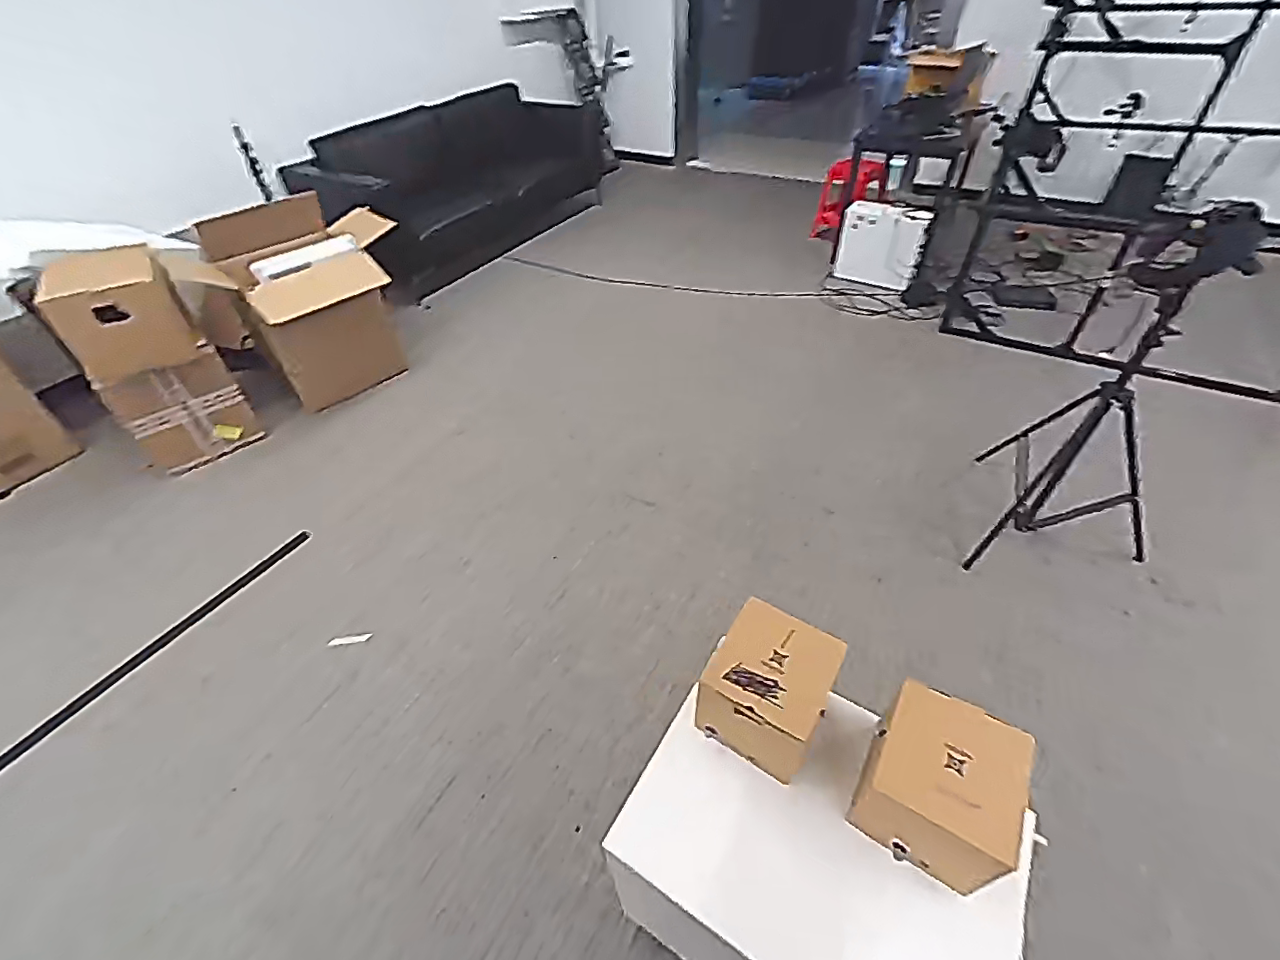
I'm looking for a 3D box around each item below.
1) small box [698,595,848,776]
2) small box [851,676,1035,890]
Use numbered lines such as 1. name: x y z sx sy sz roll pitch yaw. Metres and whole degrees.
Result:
1. small box: 0.203 0.325 0.854 0.168 0.176 0.179 24 50 25
2. small box: 0.411 0.418 0.750 0.168 0.176 0.179 22 51 25
